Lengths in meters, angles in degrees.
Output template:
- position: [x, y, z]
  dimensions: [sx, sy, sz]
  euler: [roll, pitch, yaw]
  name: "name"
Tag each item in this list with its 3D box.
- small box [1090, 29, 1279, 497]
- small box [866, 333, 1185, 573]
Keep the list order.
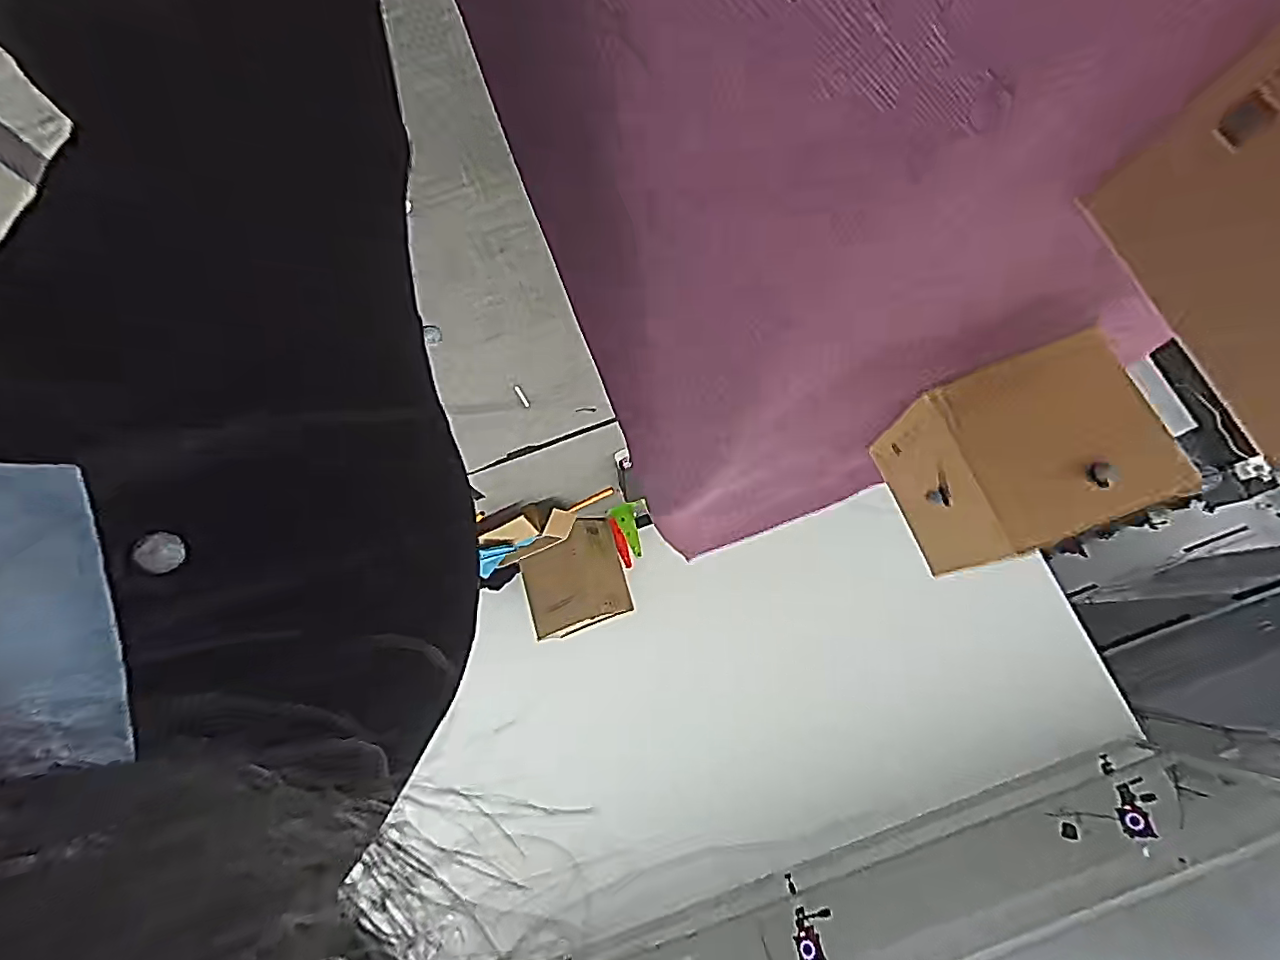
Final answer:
- position: [0.334, -0.114, 0.198]
  dimensions: [0.179, 0.176, 0.168]
  euler: [-17, 165, -13]
  name: "small box"
- position: [0.369, -0.020, 0.562]
  dimensions: [0.179, 0.176, 0.168]
  euler: [-21, 163, -2]
  name: "small box"
